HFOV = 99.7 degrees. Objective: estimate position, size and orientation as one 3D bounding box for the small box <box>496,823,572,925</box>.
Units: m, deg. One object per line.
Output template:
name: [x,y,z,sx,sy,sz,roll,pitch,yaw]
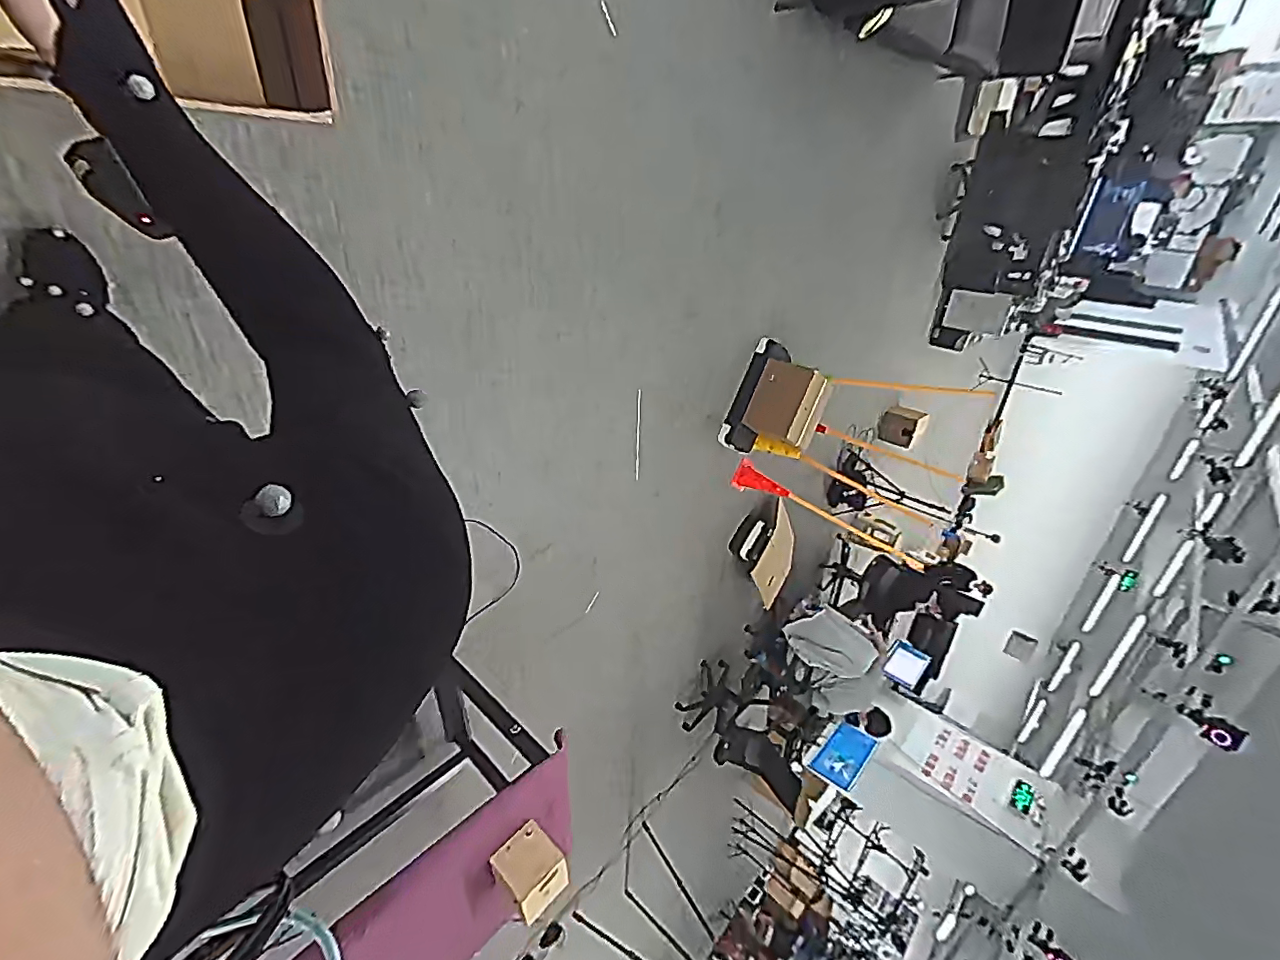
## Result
small box: [-0.334,1.223,1.694,0.168,0.176,0.179,-30,132,-38]
